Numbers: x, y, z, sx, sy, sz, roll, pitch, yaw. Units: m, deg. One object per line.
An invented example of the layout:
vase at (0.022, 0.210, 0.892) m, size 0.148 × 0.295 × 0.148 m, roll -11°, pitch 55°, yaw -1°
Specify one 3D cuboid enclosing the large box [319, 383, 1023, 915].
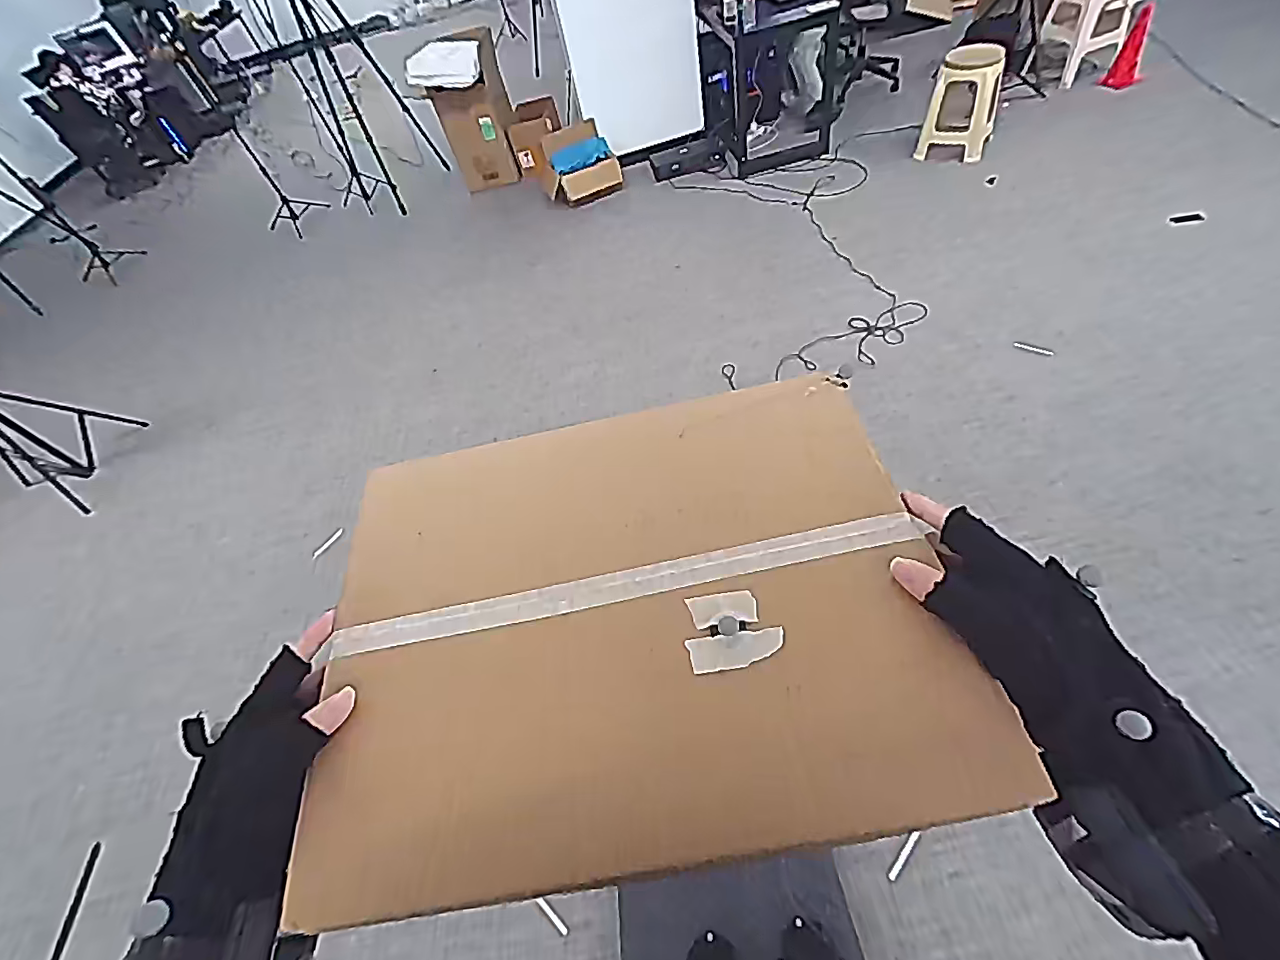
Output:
large box at (0.013, 0.163, 0.500) m, size 0.408 × 0.320 × 0.320 m, roll -12°, pitch 54°, yaw 2°
